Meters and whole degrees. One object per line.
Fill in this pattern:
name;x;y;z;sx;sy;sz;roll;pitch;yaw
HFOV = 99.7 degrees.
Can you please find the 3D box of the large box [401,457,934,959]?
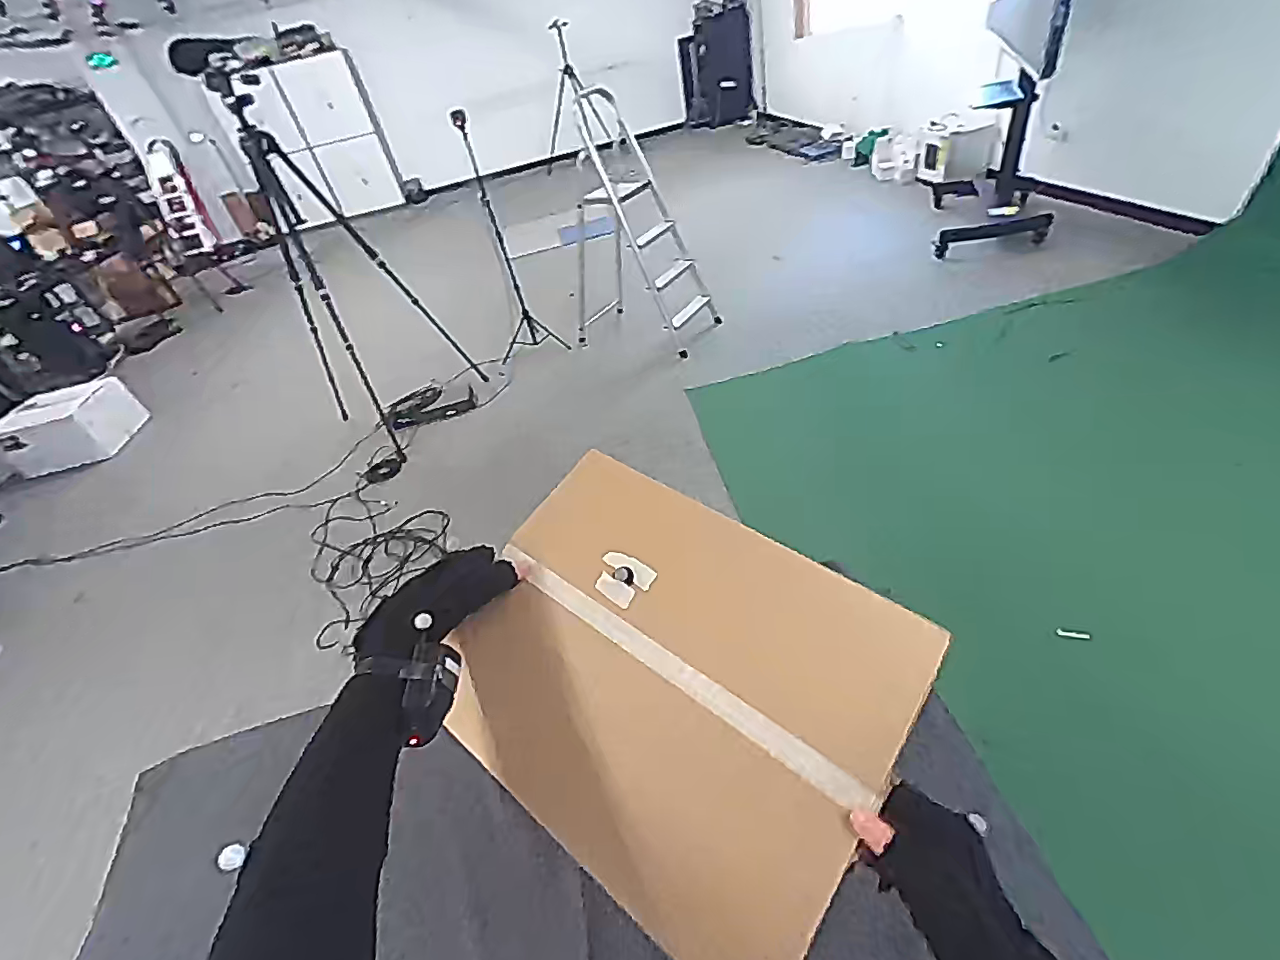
large box;0.041;0.238;0.608;0.408;0.320;0.320;26;66;29
